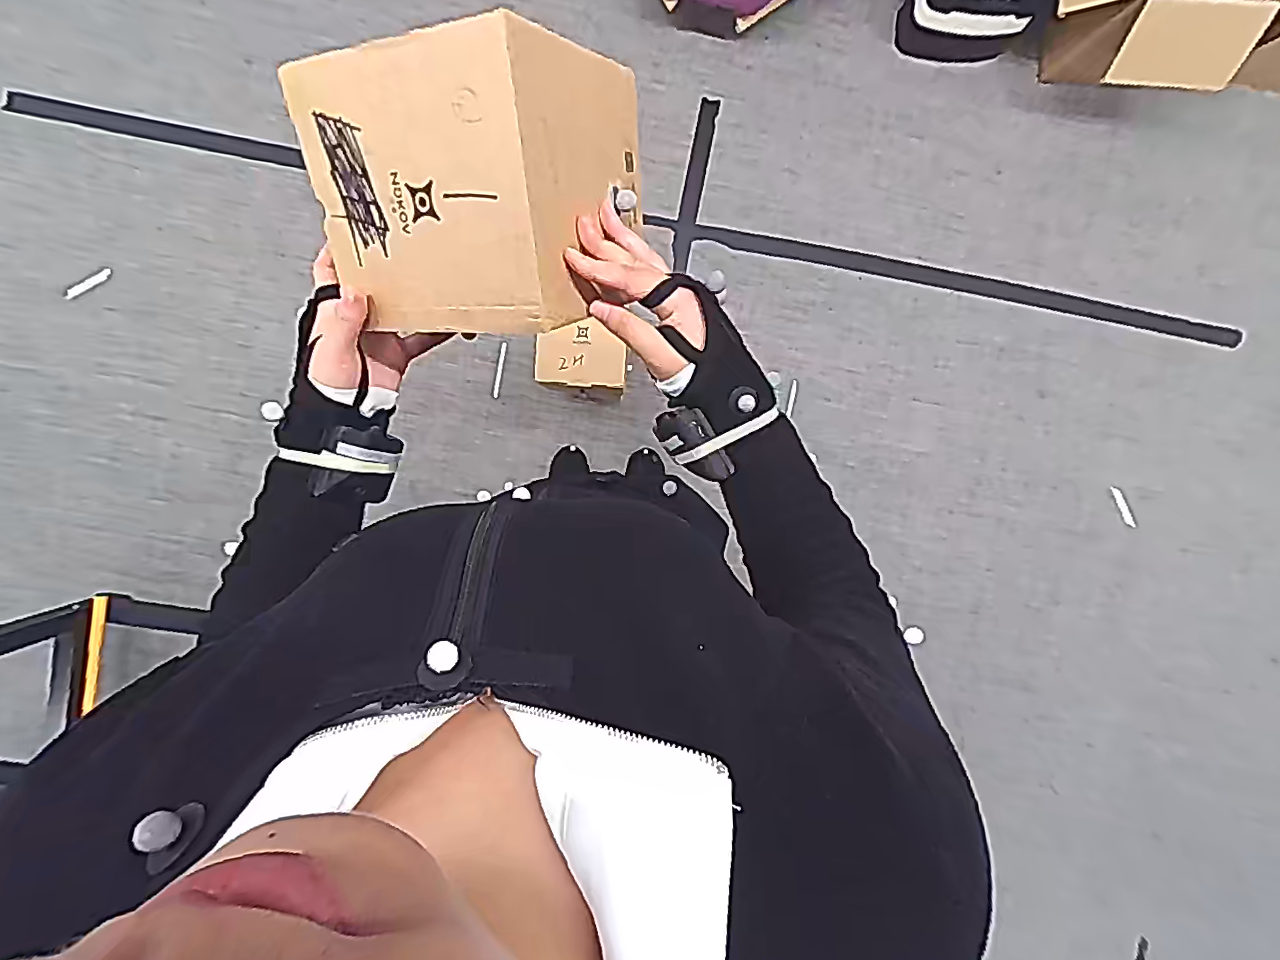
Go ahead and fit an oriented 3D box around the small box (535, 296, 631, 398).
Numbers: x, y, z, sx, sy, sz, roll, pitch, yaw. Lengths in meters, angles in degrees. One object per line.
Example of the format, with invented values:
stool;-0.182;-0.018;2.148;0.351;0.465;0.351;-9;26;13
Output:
small box;-0.105;-0.262;1.062;0.168;0.176;0.179;4;94;-1

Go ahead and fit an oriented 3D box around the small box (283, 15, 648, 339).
small box;-0.109;-0.208;0.405;0.179;0.176;0.168;7;119;23
